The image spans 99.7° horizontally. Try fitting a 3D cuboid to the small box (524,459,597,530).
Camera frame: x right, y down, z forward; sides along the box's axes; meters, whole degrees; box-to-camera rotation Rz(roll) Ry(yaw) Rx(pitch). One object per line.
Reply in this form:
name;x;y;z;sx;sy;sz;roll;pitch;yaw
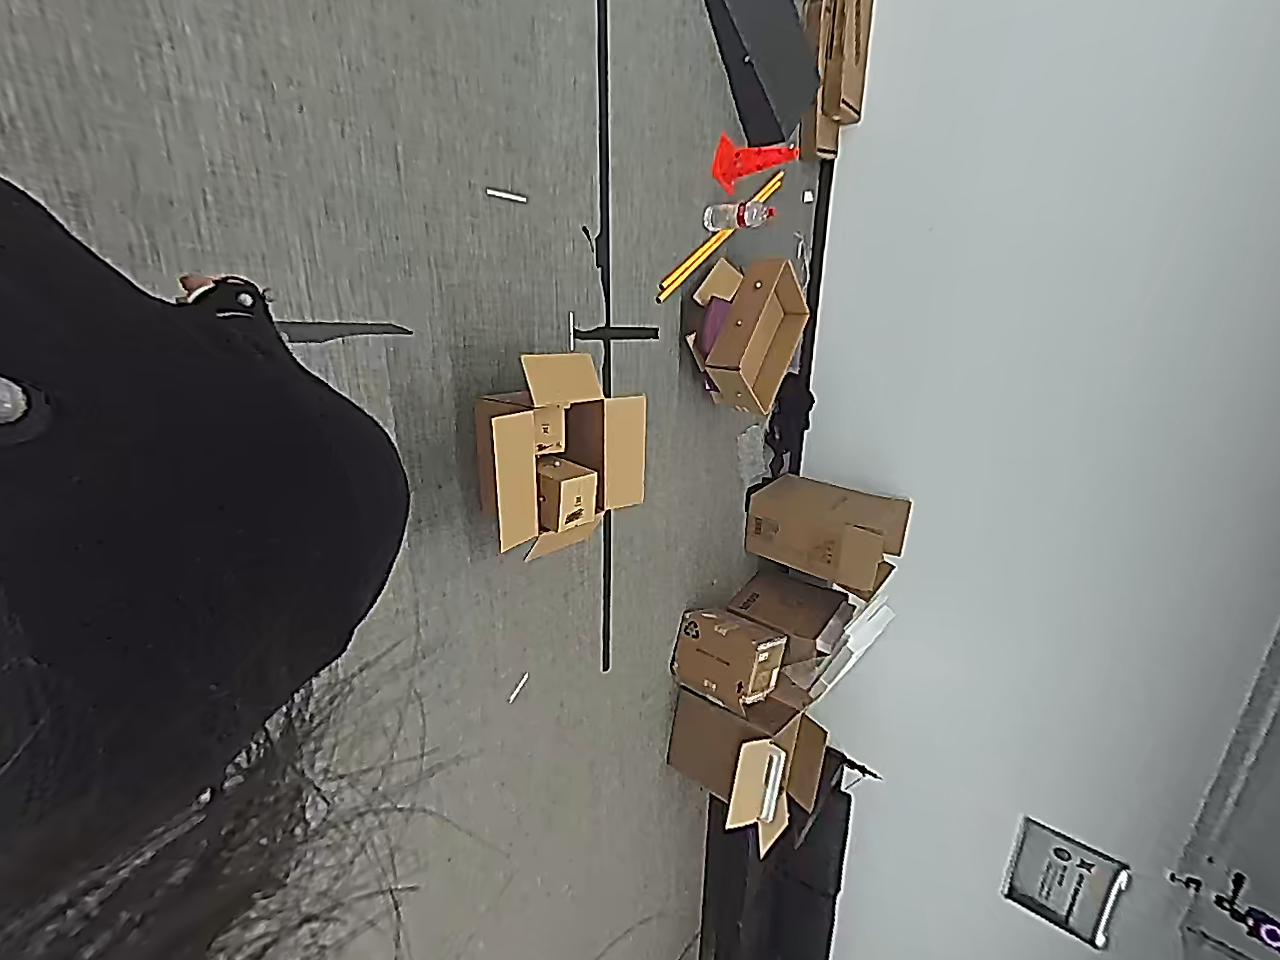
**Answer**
small box;-0.264;0.042;1.771;0.168;0.176;0.179;-16;118;-50
